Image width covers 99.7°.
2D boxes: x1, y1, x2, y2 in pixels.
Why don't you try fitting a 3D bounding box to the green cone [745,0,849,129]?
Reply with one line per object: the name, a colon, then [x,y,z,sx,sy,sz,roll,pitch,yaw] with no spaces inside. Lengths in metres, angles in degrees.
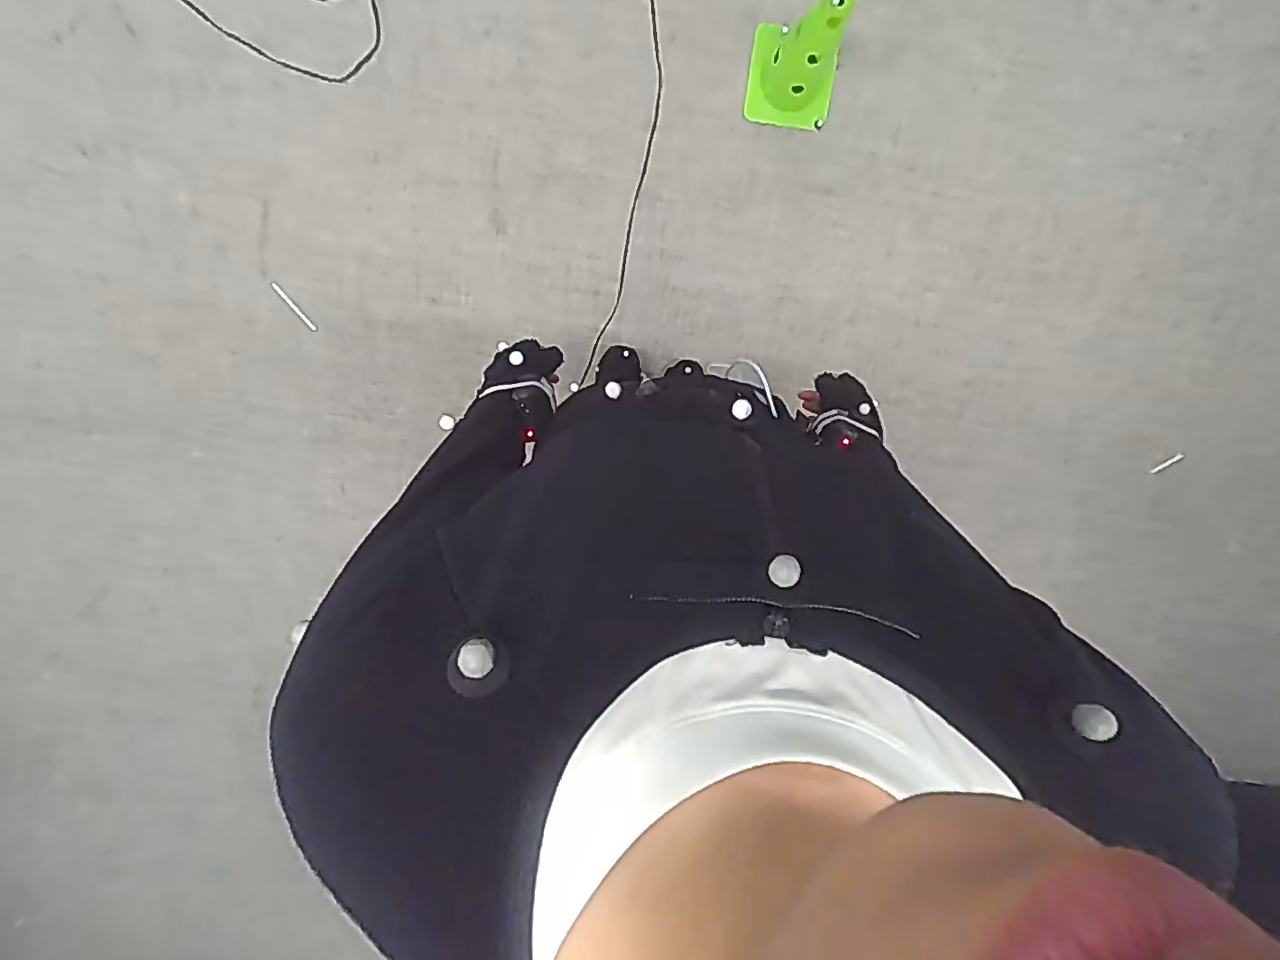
green cone: [0.357,-0.904,1.100,0.202,0.368,0.200,6,103,-2]
